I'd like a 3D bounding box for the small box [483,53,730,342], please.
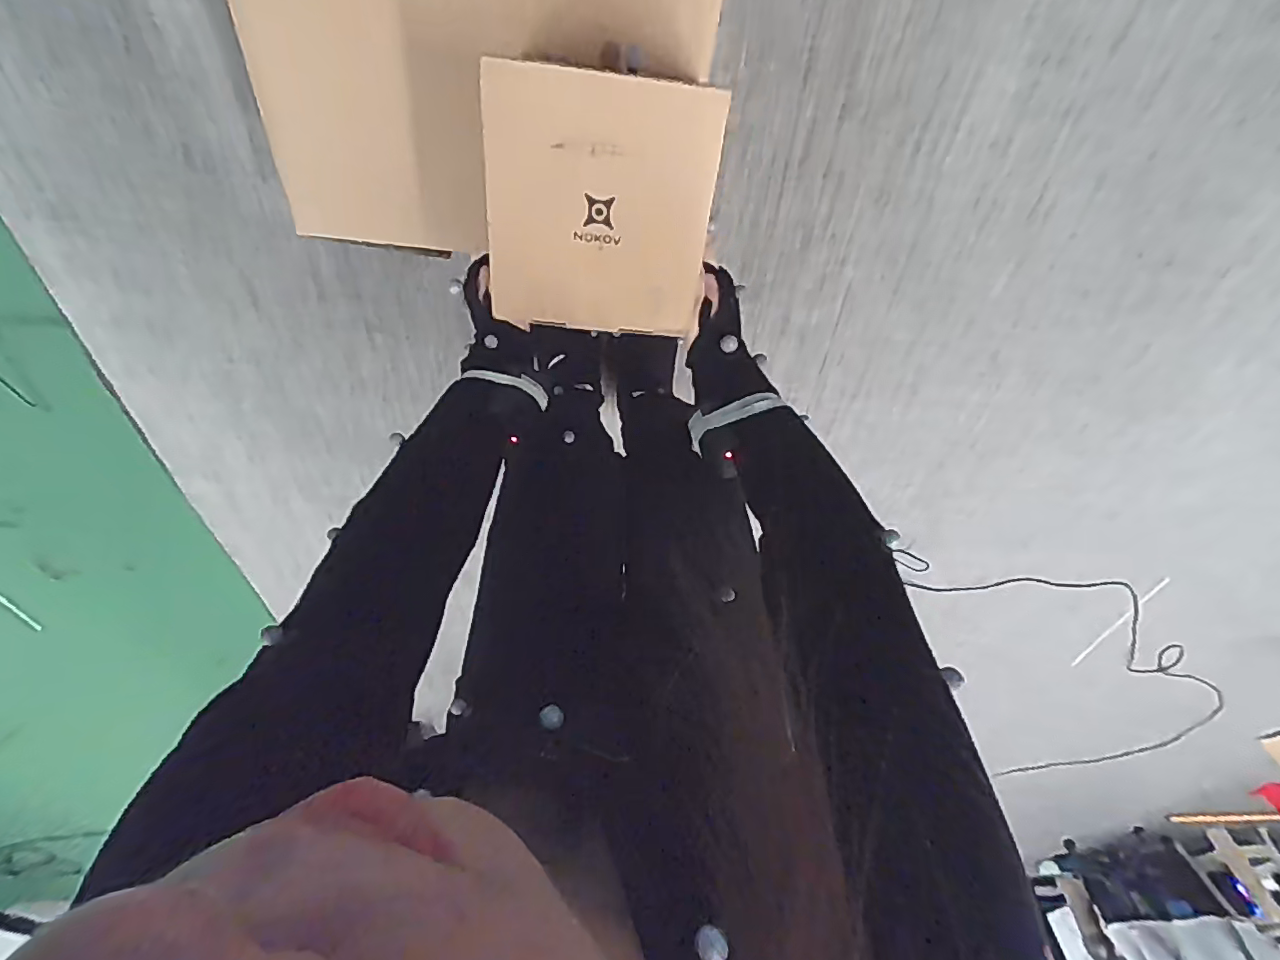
[{"bbox_3d":[-0.032,-0.242,0.462,0.168,0.176,0.179,5,128,-6],"label":"small box"}]
